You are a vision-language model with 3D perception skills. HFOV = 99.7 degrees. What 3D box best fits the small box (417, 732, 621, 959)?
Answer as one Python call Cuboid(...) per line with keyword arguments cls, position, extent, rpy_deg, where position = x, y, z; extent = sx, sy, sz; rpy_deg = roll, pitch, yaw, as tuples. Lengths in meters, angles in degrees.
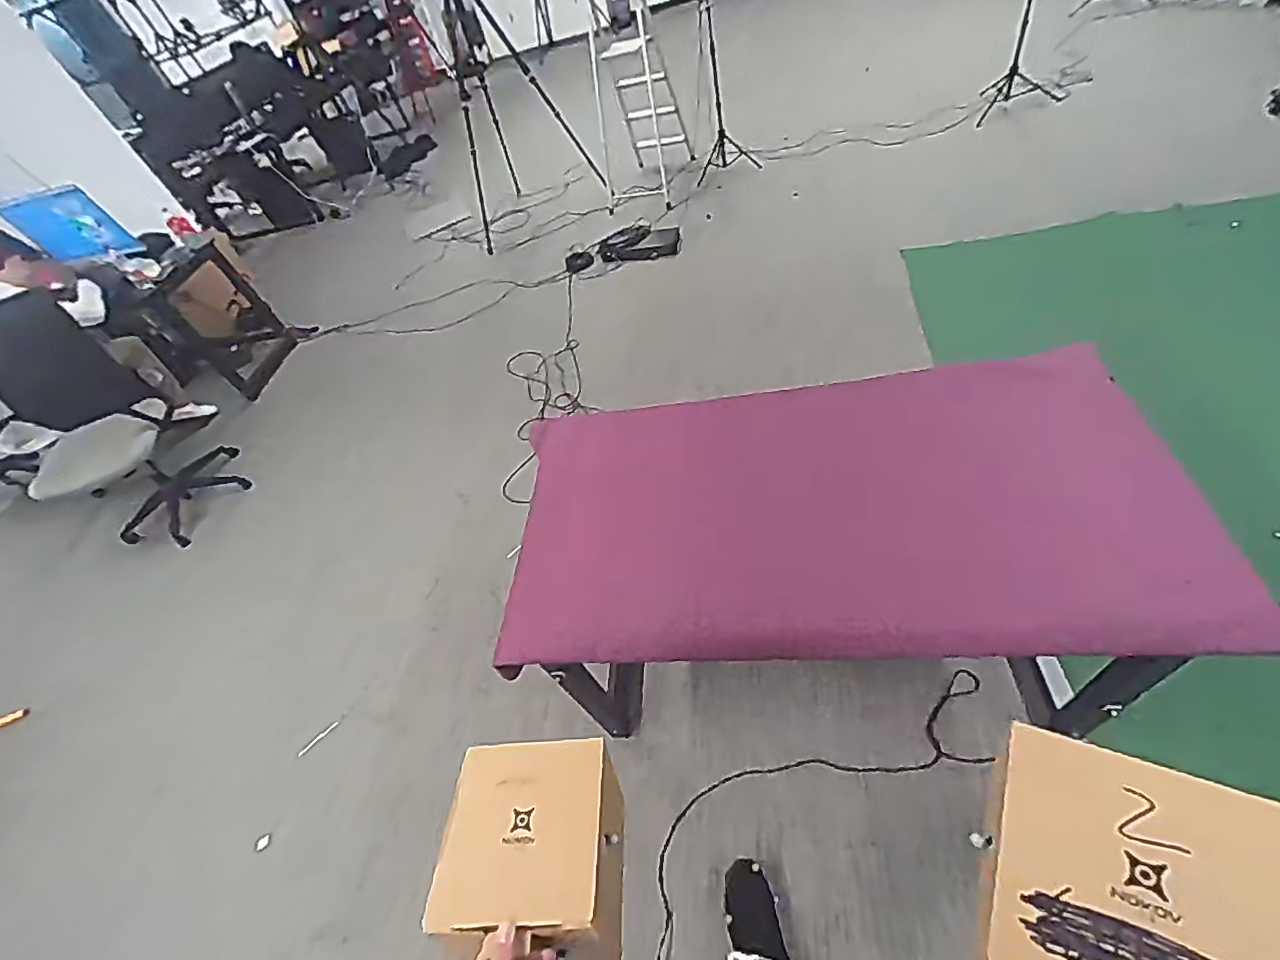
Cuboid(cls="small box", position=(-0.116, 0.414, 0.609), extent=(0.168, 0.176, 0.179), rpy_deg=(-5, 36, 5))
